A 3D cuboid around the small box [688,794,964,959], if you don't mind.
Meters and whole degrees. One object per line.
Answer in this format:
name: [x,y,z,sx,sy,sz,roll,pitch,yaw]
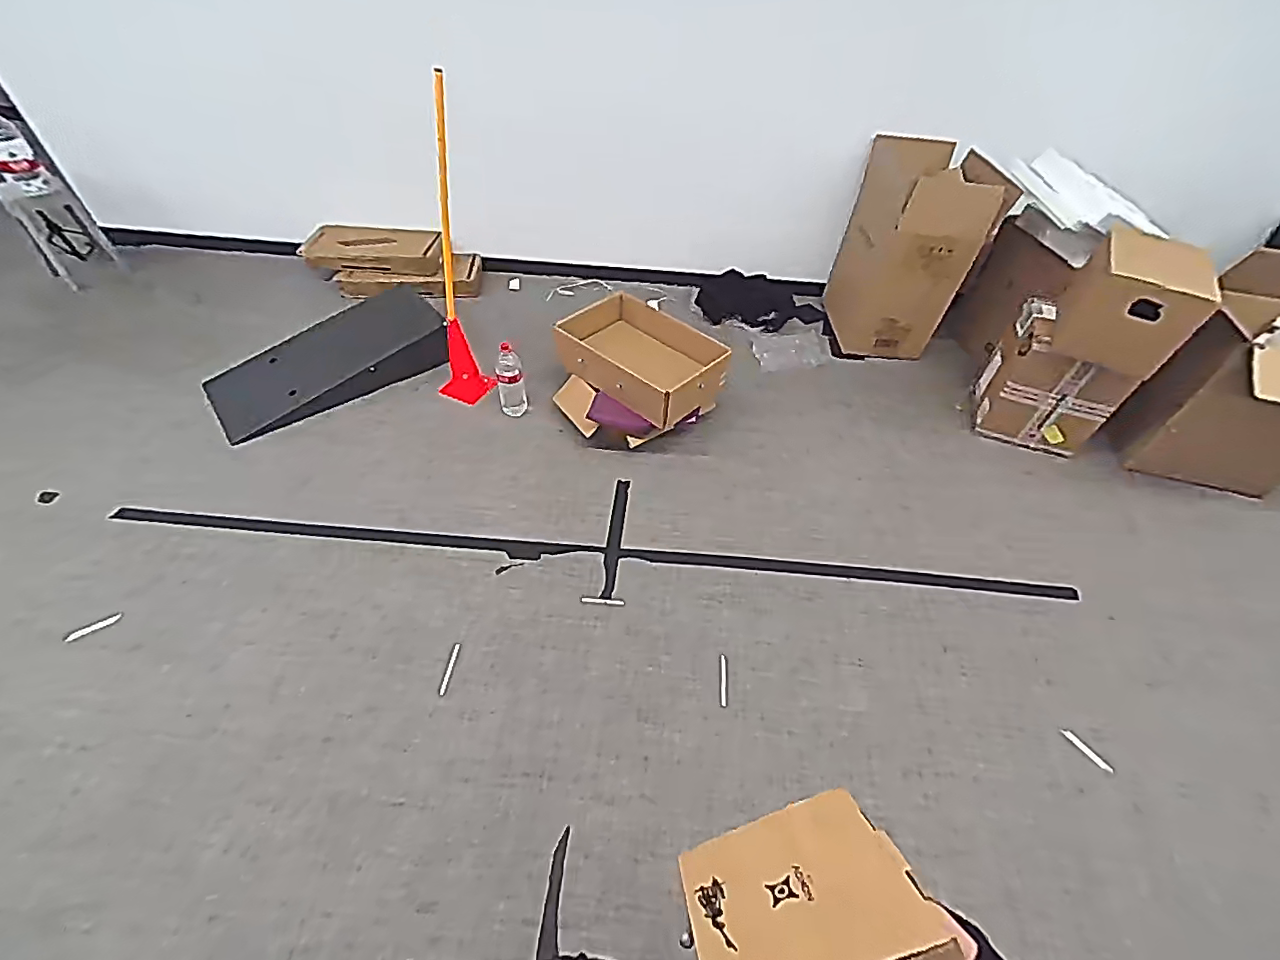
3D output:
small box: [0.159,0.417,0.454,0.179,0.168,0.176,-19,93,-4]
